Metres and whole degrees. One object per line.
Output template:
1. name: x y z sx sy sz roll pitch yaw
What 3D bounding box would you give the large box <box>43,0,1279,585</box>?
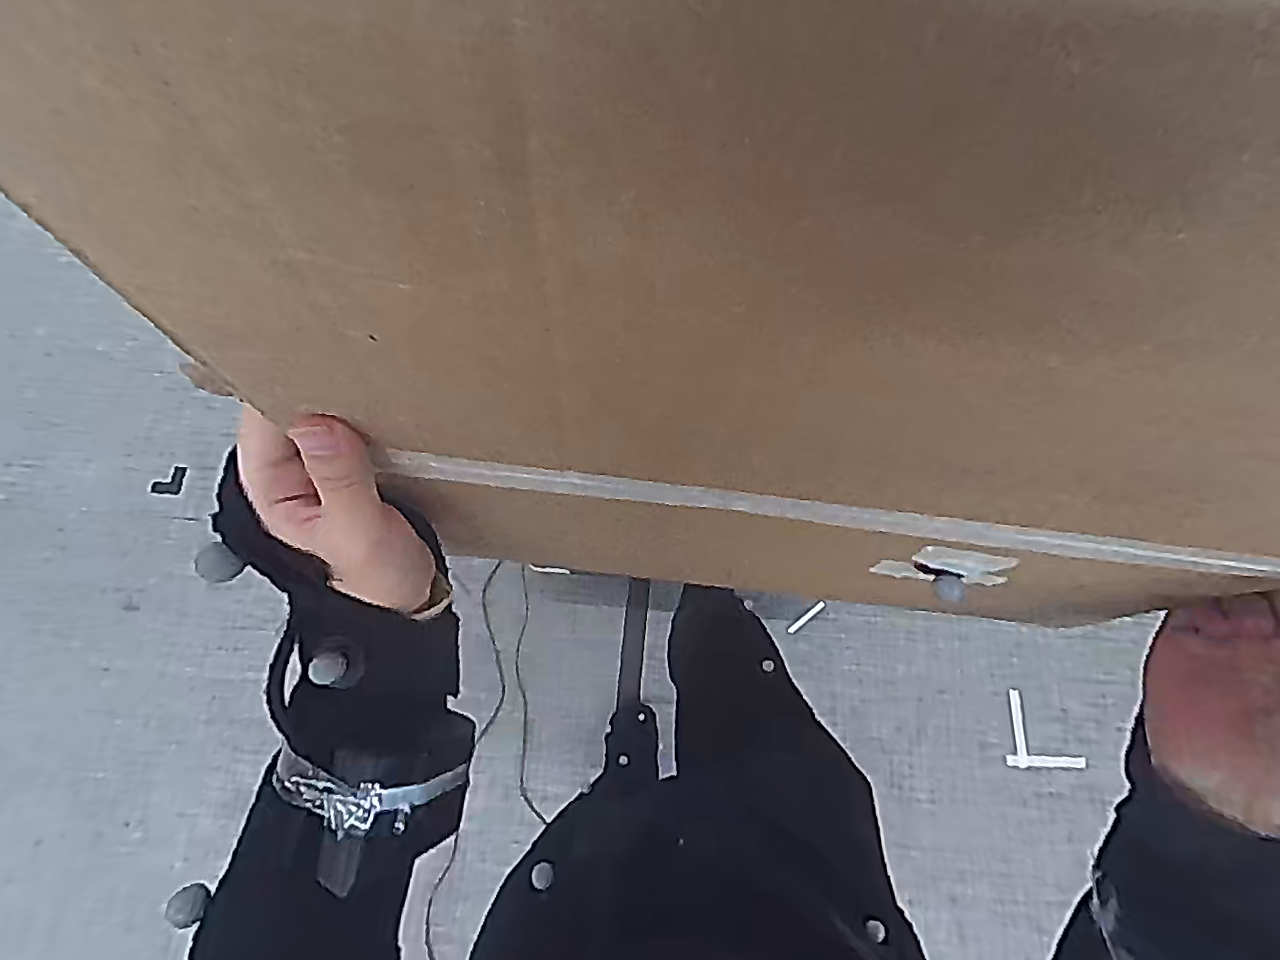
1. large box: 0.097 -0.153 0.262 0.408 0.320 0.320 6 66 0
